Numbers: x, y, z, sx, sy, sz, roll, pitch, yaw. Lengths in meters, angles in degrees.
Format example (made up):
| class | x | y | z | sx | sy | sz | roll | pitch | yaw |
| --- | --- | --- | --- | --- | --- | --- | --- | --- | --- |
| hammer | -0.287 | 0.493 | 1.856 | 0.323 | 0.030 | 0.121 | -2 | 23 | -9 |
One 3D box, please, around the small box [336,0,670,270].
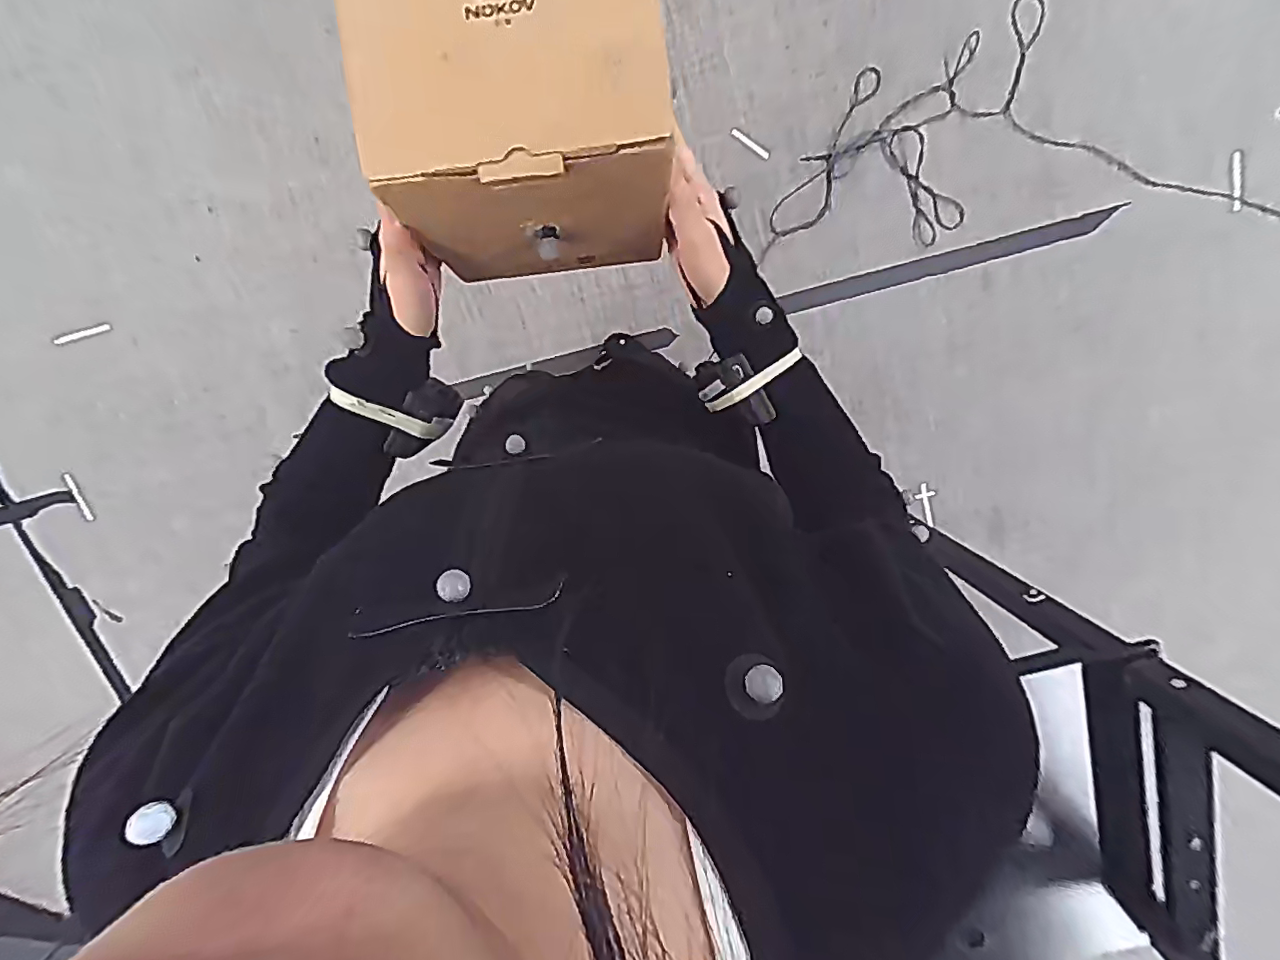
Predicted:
| class | x | y | z | sx | sy | sz | roll | pitch | yaw |
| --- | --- | --- | --- | --- | --- | --- | --- | --- | --- |
| small box | -0.073 | -0.251 | 0.356 | 0.168 | 0.176 | 0.179 | -7 | 94 | 0 |
